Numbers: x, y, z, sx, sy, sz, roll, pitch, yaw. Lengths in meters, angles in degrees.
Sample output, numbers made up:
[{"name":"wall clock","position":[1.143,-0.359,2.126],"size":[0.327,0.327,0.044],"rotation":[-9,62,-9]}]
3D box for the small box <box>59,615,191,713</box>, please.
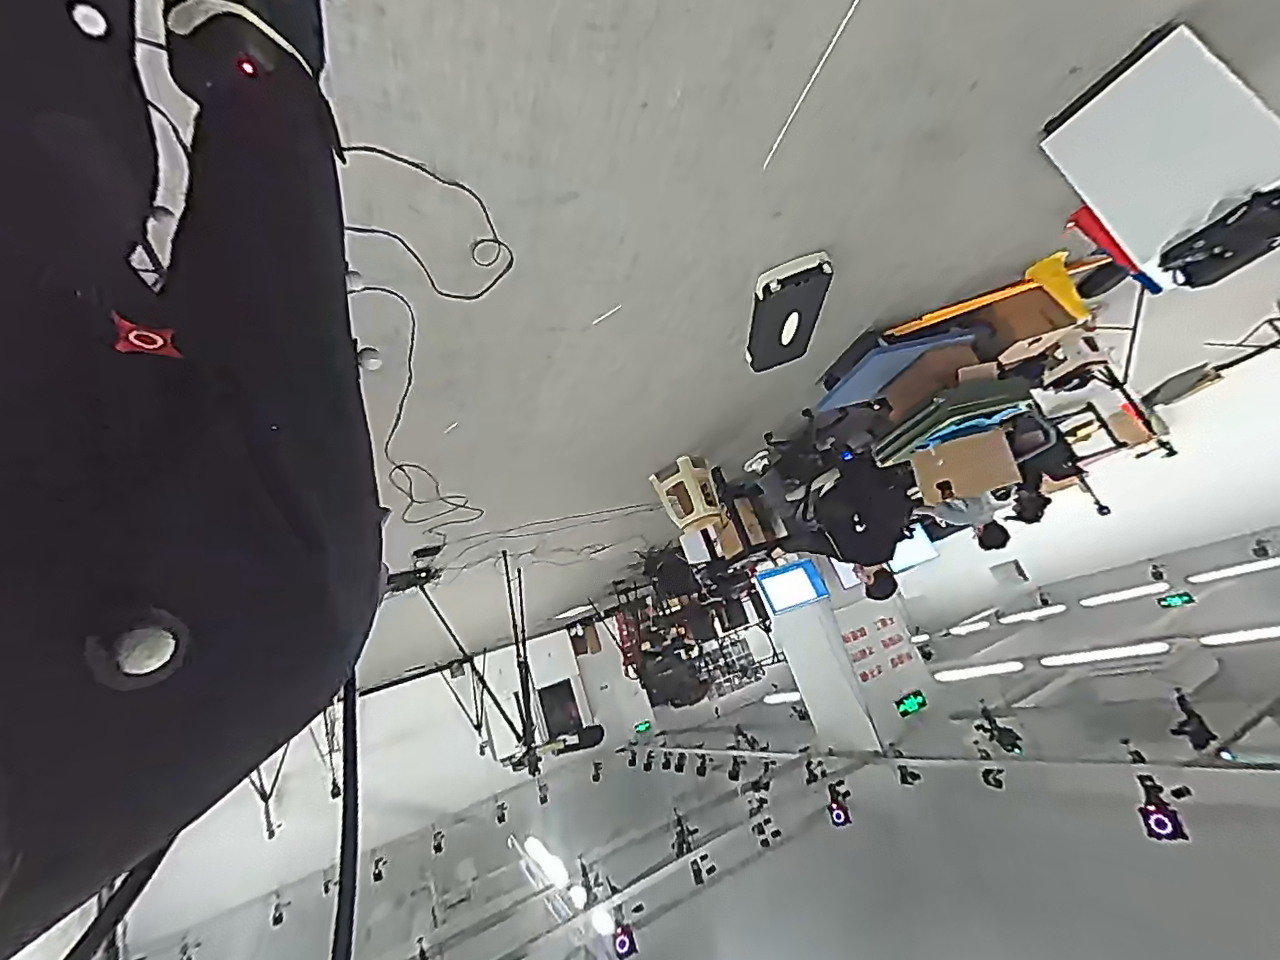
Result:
[{"name":"small box","position":[-1.187,0.423,1.251],"size":[0.179,0.176,0.168],"rotation":[-13,161,-22]}]
